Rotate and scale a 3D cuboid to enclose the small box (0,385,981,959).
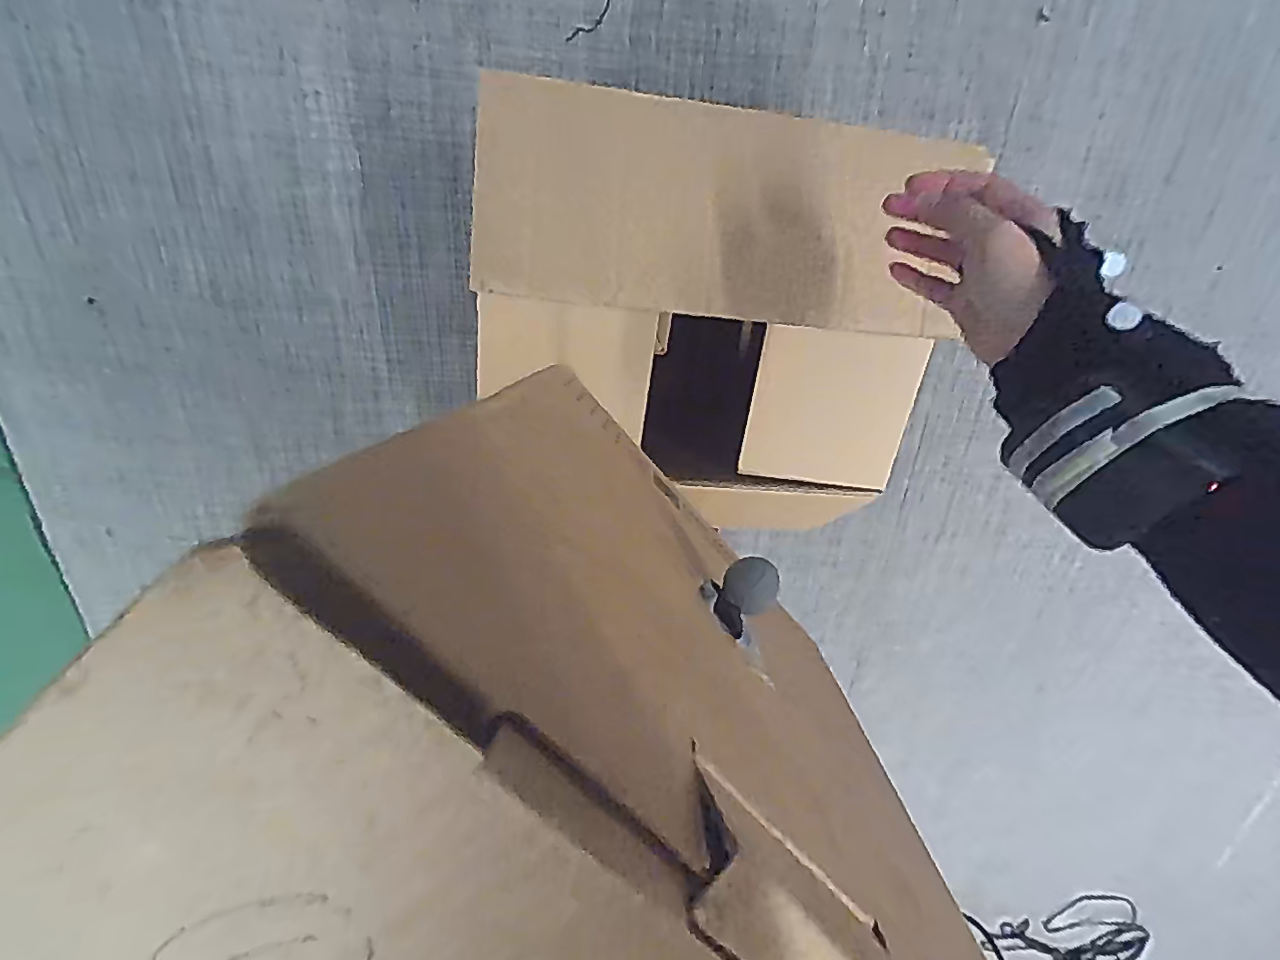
[{"bbox_3d":[-0.042,0.091,0.155,0.179,0.176,0.168,-41,102,10],"label":"small box"}]
